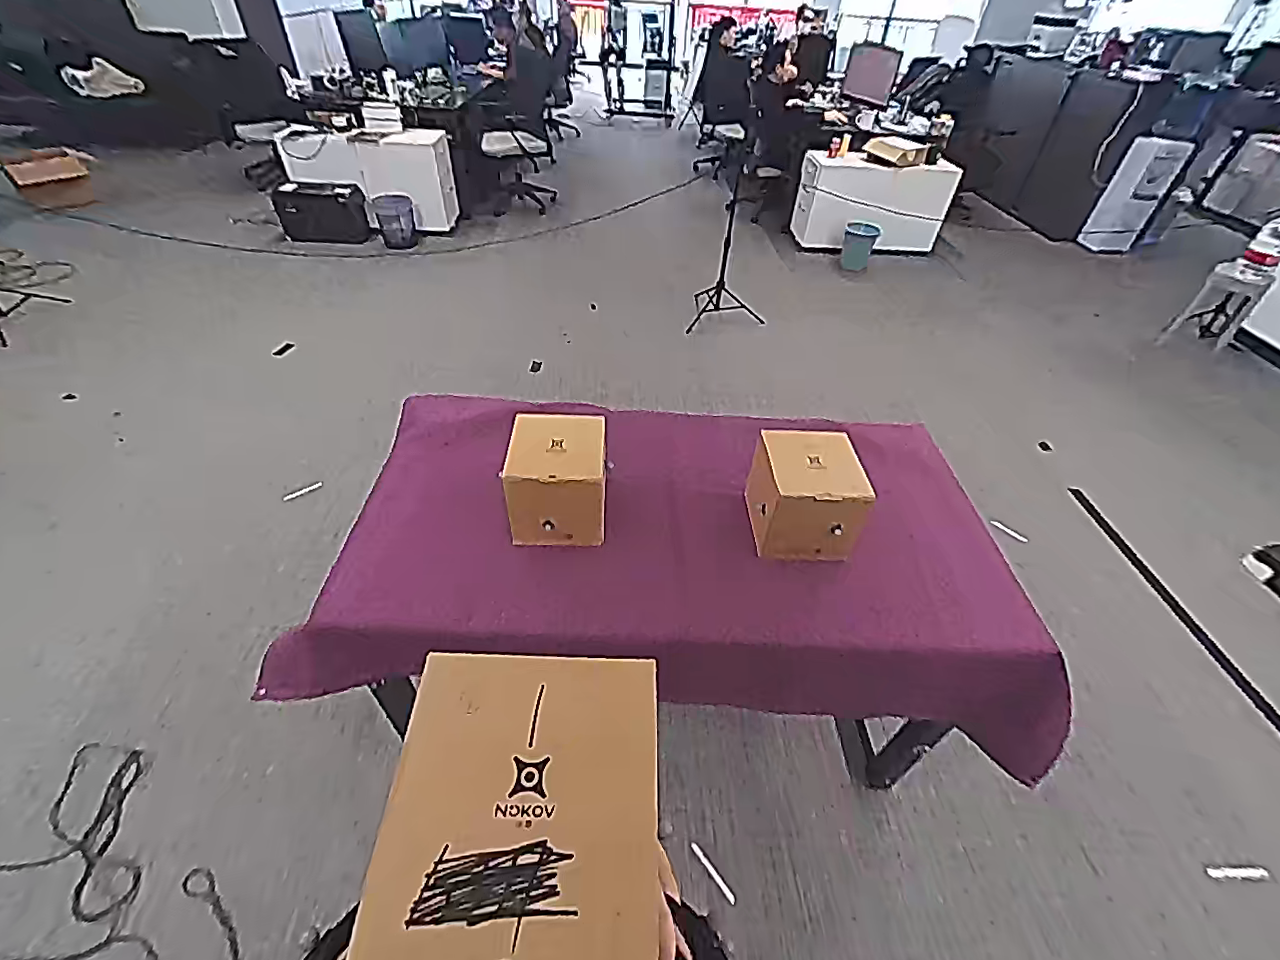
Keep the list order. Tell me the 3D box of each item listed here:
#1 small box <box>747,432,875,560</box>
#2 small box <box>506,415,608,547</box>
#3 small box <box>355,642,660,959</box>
[{"bbox_3d":[0.303,0.032,0.998,0.168,0.176,0.179,2,43,-3],"label":"small box"},{"bbox_3d":[-0.145,0.001,0.998,0.168,0.176,0.179,2,44,-3],"label":"small box"},{"bbox_3d":[-0.073,0.240,0.401,0.168,0.176,0.179,3,50,-2],"label":"small box"}]
